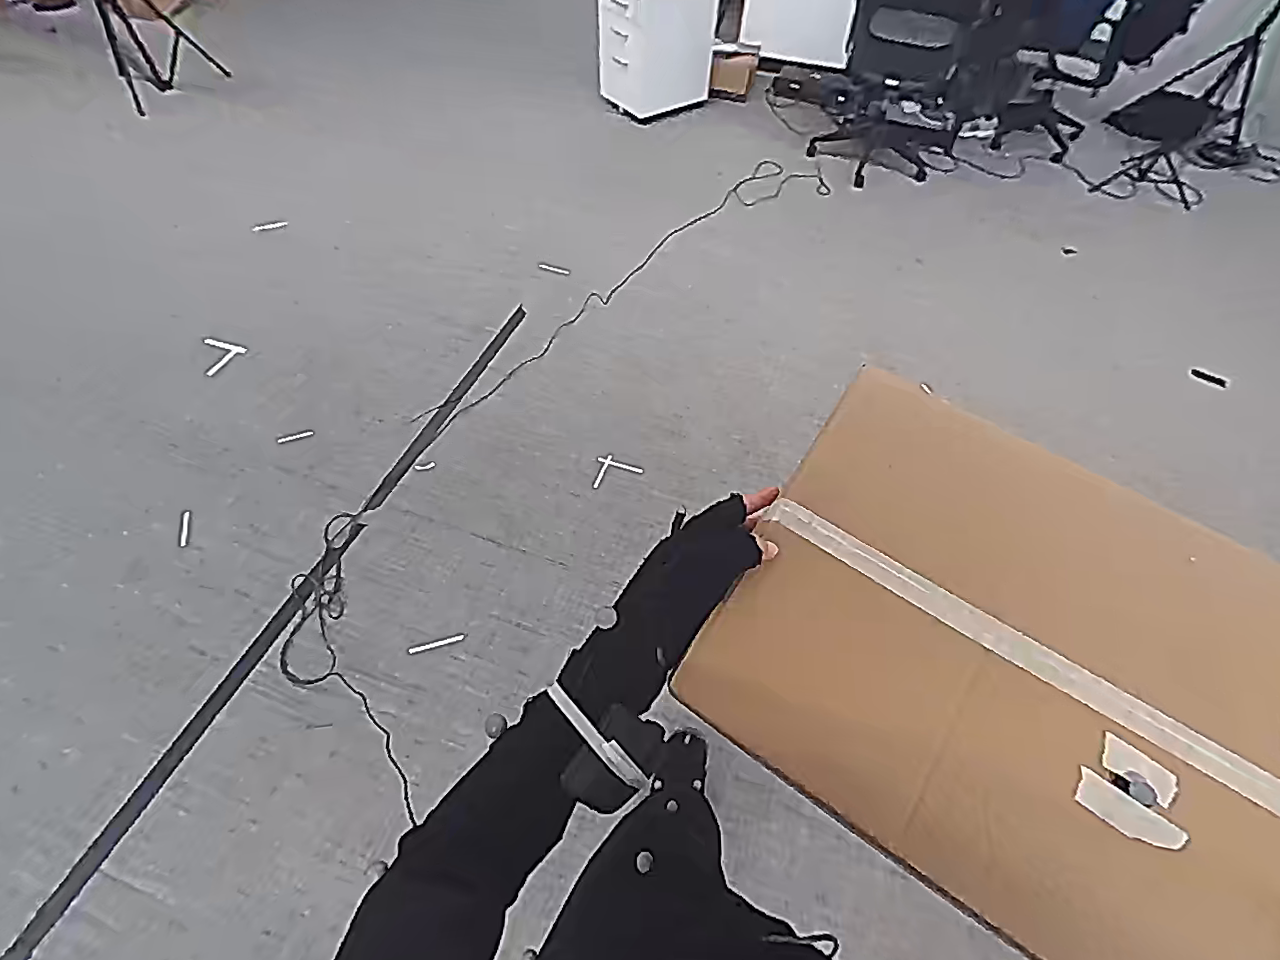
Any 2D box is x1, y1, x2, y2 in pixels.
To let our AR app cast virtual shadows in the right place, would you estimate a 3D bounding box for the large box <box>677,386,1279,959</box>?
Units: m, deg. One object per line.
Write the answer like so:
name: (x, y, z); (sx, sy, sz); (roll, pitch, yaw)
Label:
large box: (0.282, 0.185, 0.519); (0.408, 0.320, 0.320); (32, 74, 15)
